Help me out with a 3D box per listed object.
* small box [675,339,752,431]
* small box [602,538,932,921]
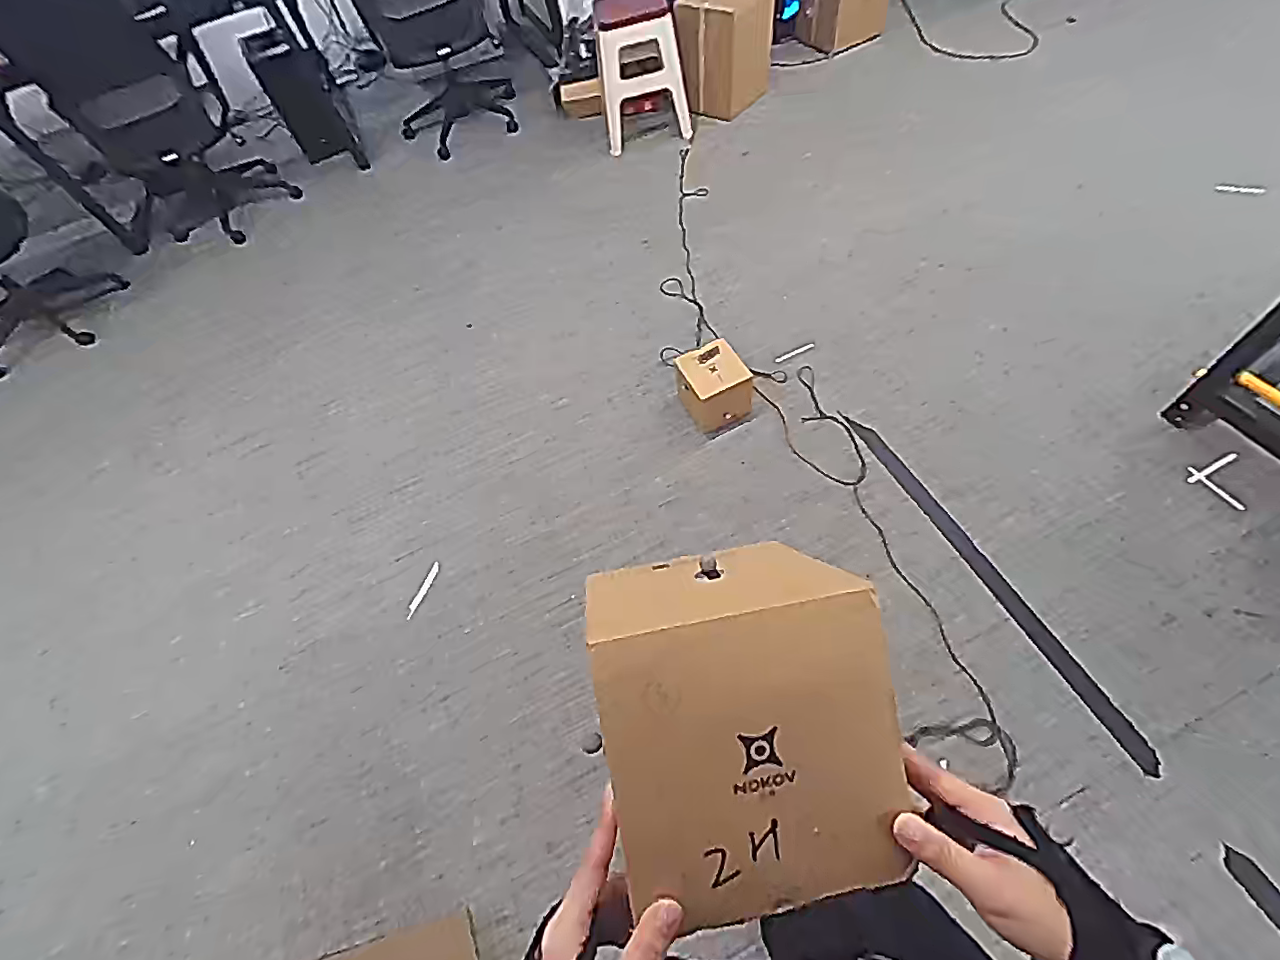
[{"bbox_3d":[0.217,-0.278,1.607,0.168,0.176,0.179,-26,59,-6],"label":"small box"},{"bbox_3d":[0.066,0.140,0.376,0.168,0.176,0.179,-9,93,-5],"label":"small box"}]
